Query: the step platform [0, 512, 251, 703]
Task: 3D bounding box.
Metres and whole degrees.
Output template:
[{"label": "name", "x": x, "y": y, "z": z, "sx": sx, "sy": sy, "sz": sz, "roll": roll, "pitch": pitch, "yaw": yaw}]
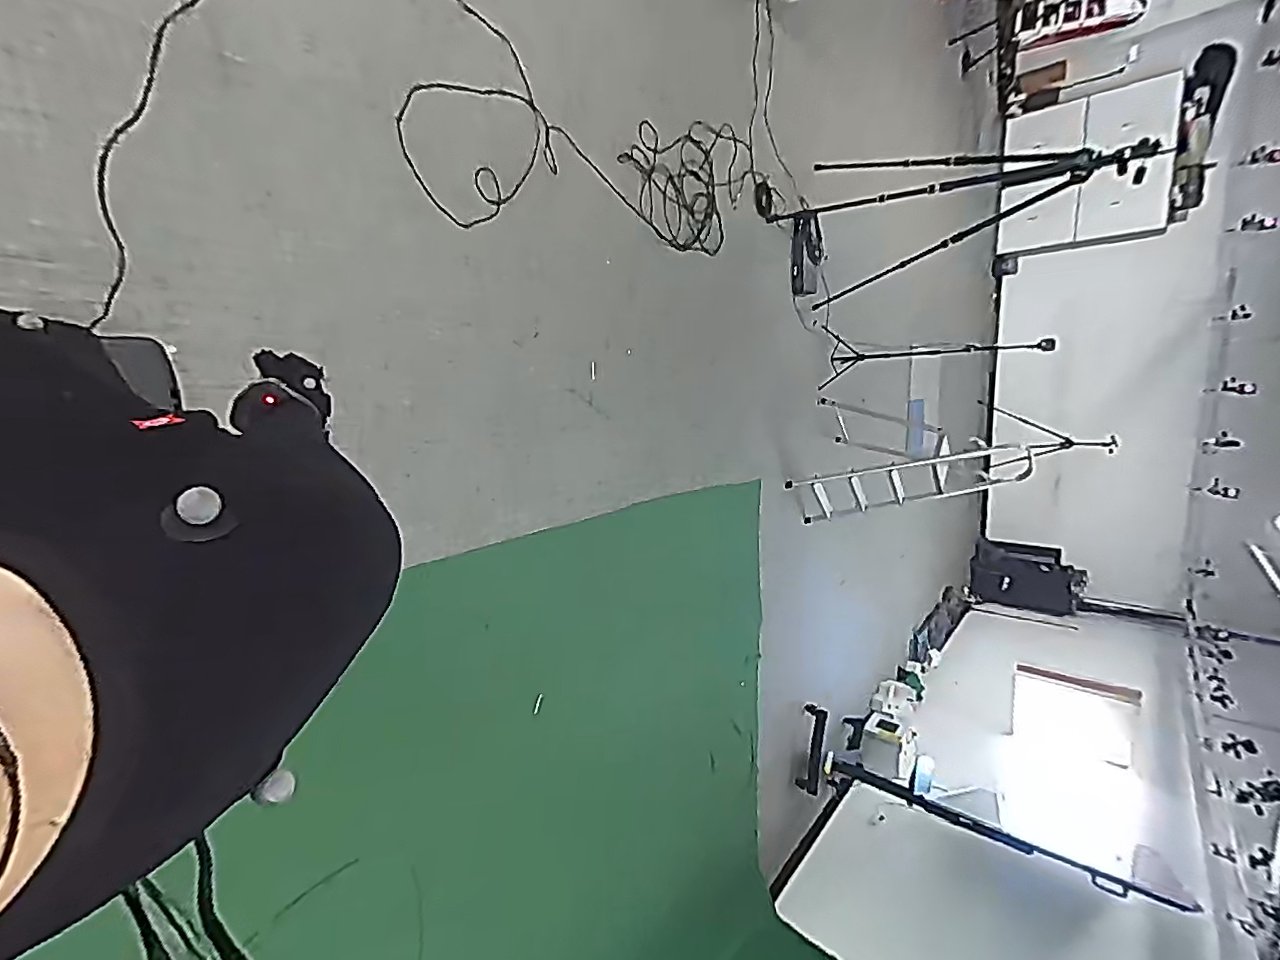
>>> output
[{"label": "step platform", "x": -1.057, "y": 0.248, "z": 0.862, "sx": 0.684, "sy": 0.204, "sz": 0.286, "roll": -13, "pitch": 104, "yaw": -49}]
